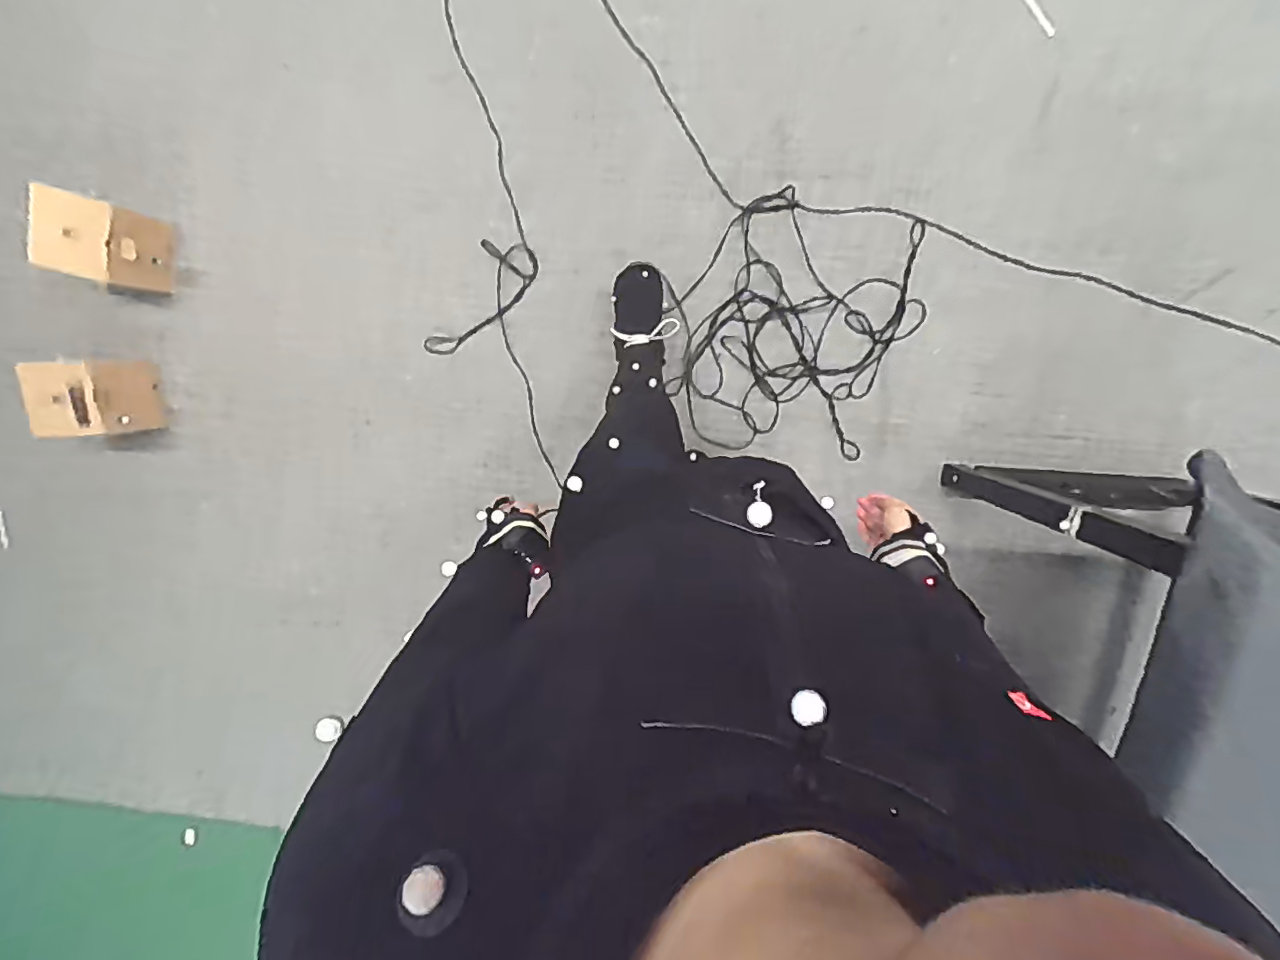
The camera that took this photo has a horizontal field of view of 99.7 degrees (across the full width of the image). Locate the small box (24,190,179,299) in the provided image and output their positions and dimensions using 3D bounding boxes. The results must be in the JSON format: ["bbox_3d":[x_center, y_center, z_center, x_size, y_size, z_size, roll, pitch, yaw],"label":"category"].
[{"bbox_3d":[-1.193,-0.514,1.206,0.179,0.176,0.168,15,101,-1],"label":"small box"}]
